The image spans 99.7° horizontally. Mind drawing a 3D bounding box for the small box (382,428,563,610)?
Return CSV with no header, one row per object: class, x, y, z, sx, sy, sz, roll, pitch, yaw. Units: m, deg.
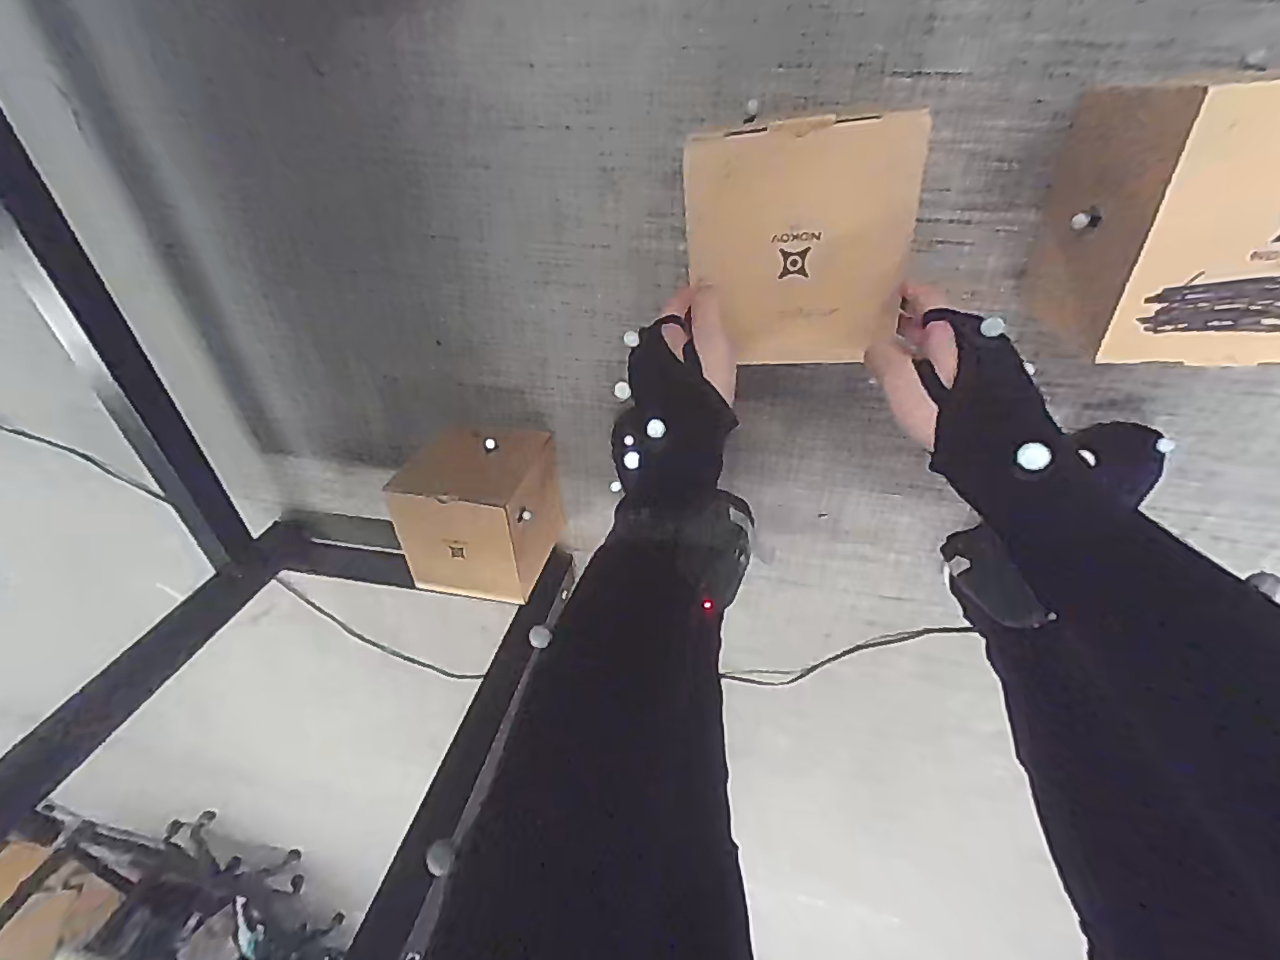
small box,-0.216,0.049,0.755,0.168,0.176,0.179,6,125,11
